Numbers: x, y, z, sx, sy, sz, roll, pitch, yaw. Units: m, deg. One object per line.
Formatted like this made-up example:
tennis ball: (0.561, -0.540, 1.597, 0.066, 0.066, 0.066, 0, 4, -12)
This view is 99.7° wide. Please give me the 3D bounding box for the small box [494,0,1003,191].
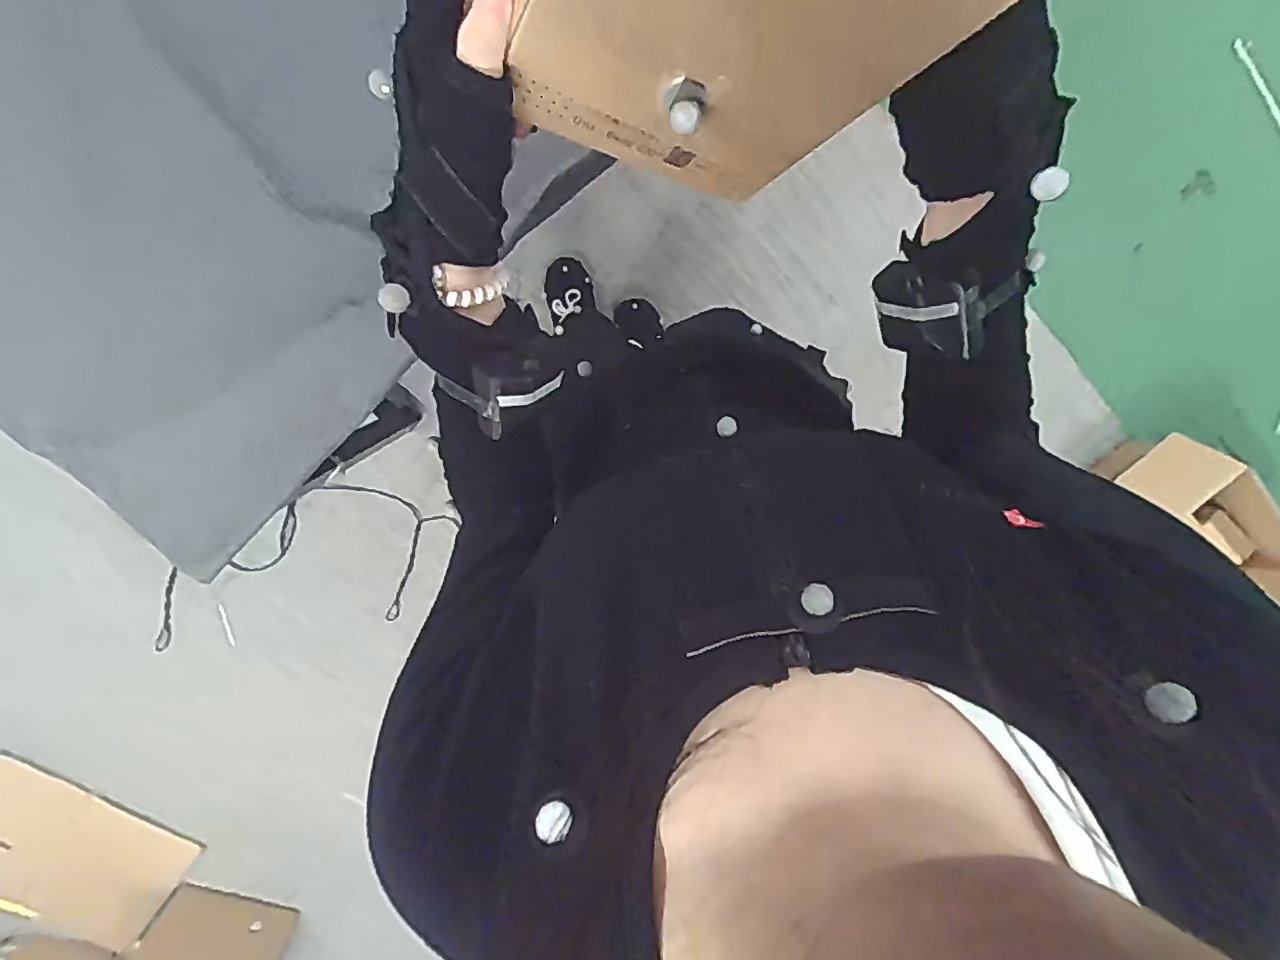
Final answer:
small box: (0.041, -0.275, 0.240, 0.168, 0.176, 0.179, 3, 84, -33)
